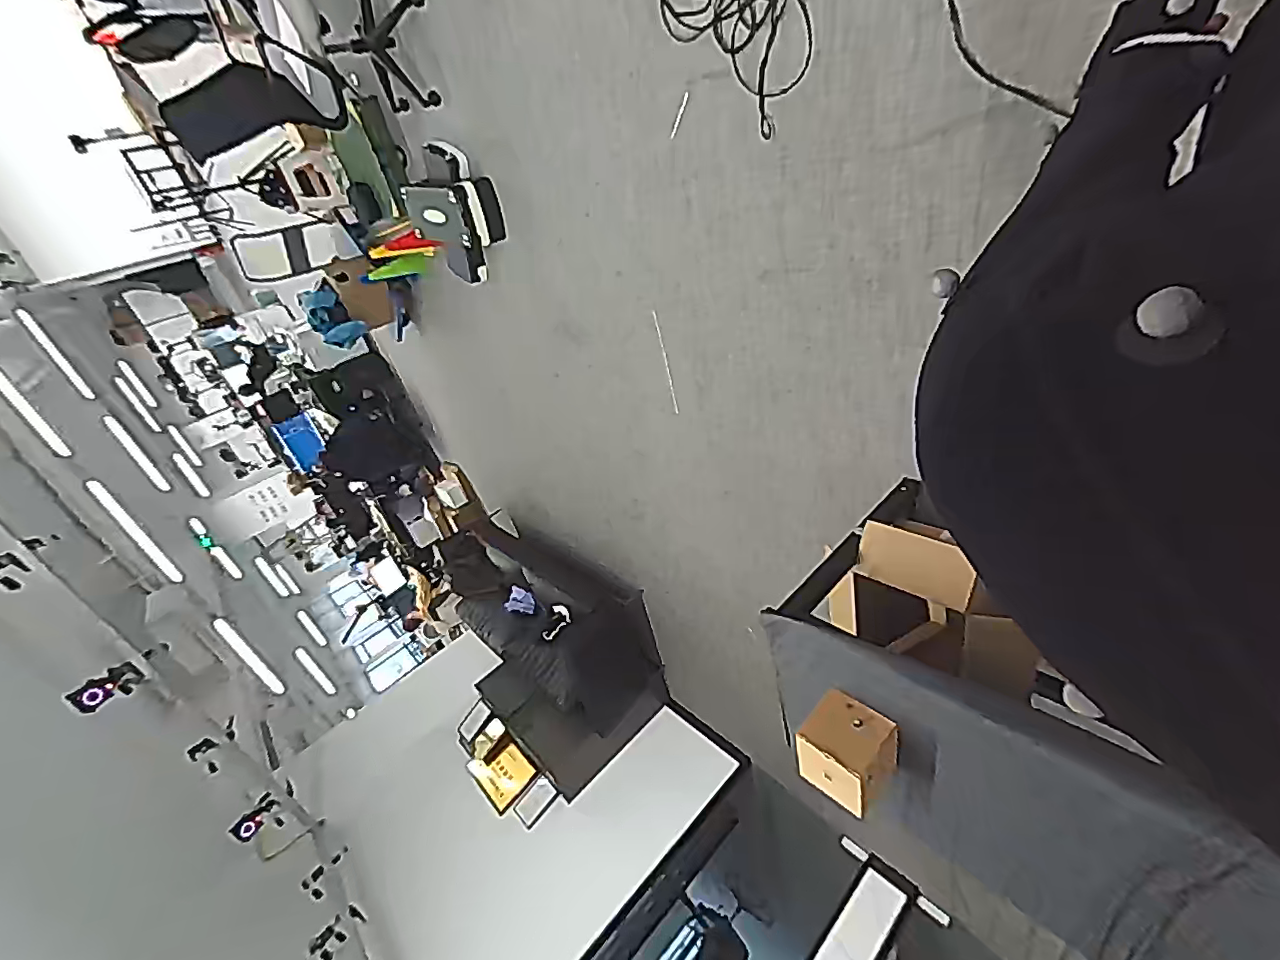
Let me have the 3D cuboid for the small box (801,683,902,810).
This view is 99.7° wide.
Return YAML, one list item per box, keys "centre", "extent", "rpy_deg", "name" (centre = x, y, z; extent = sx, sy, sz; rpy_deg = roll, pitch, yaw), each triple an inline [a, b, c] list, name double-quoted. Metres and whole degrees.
- centre: [0.511, 0.632, 1.299]
  extent: [0.168, 0.176, 0.179]
  rpy_deg: [21, 136, 45]
  name: "small box"
